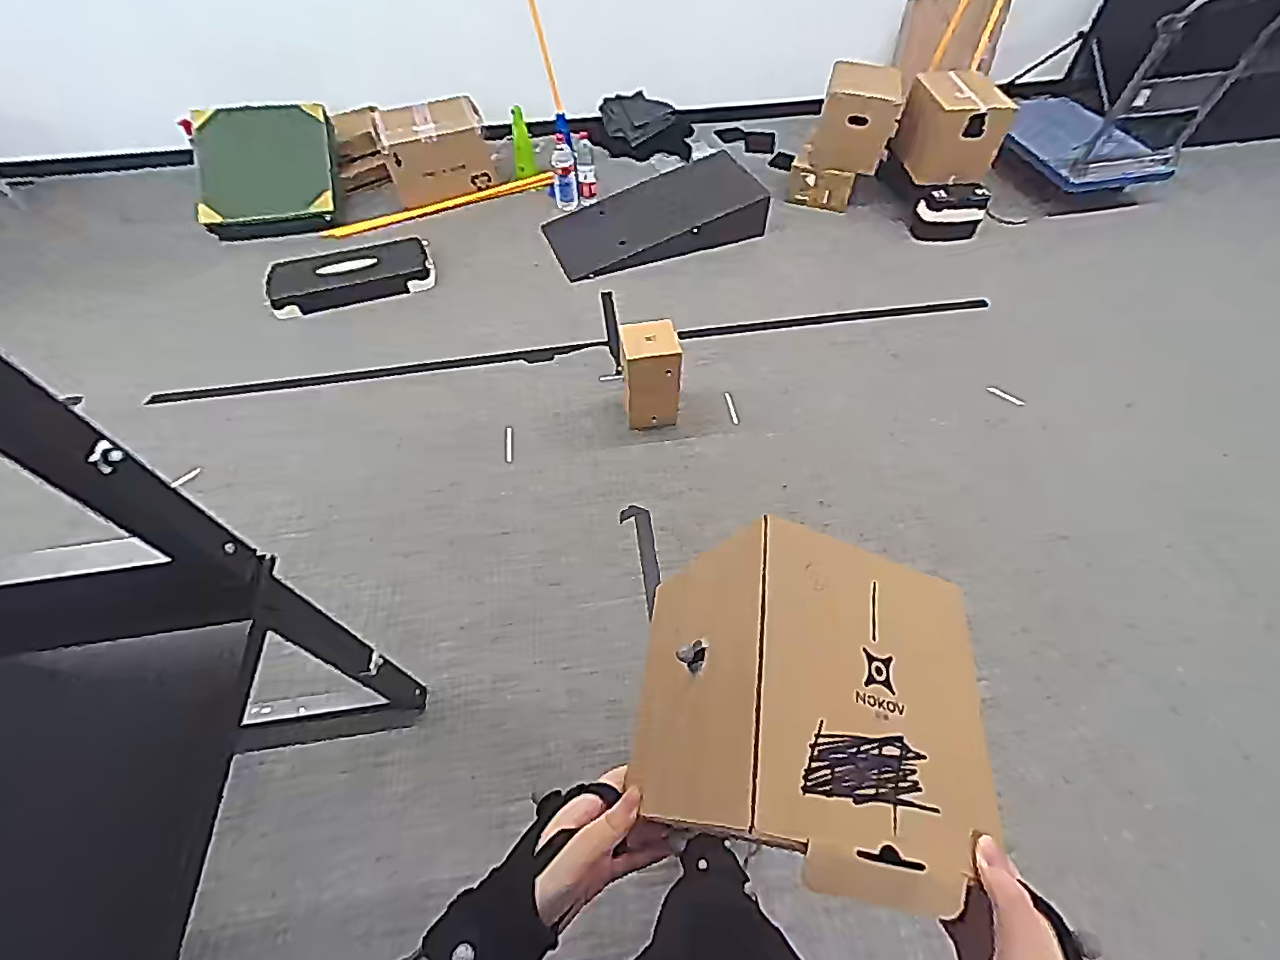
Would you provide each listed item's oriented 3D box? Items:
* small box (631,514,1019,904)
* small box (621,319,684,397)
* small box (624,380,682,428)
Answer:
[{"bbox_3d":[0.106,0.155,0.370,0.168,0.176,0.179,22,55,-14],"label":"small box"},{"bbox_3d":[0.037,-0.390,1.742,0.179,0.176,0.168,-9,55,-5],"label":"small box"},{"bbox_3d":[0.039,-0.298,1.877,0.179,0.176,0.168,-6,55,-5],"label":"small box"}]
